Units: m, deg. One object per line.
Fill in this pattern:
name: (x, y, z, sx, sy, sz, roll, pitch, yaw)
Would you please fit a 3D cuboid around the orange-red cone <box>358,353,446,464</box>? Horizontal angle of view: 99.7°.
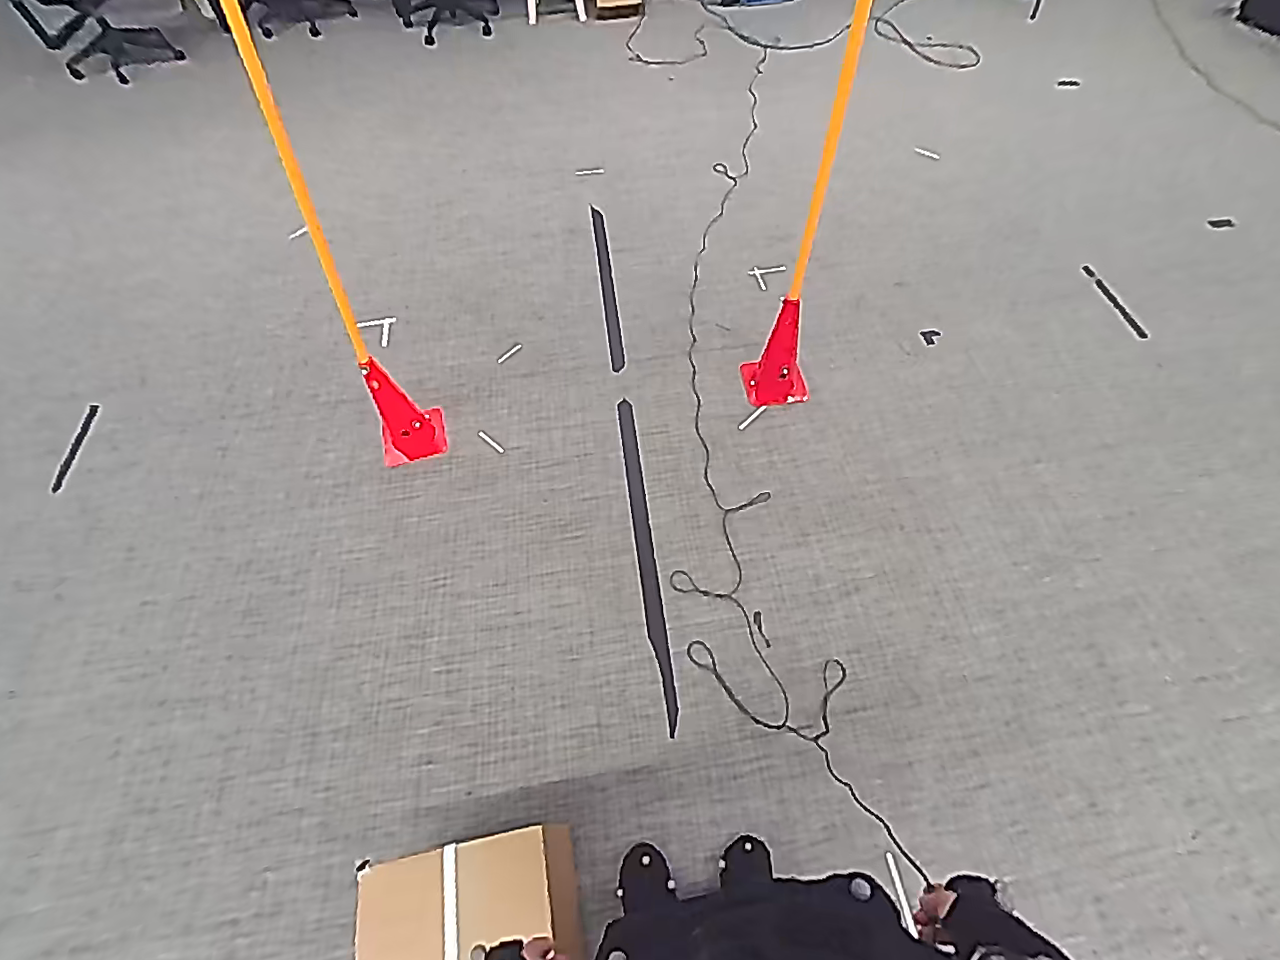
orange-red cone: (-0.745, -0.238, 1.620, 0.199, 0.360, 0.198, -16, 58, -6)
